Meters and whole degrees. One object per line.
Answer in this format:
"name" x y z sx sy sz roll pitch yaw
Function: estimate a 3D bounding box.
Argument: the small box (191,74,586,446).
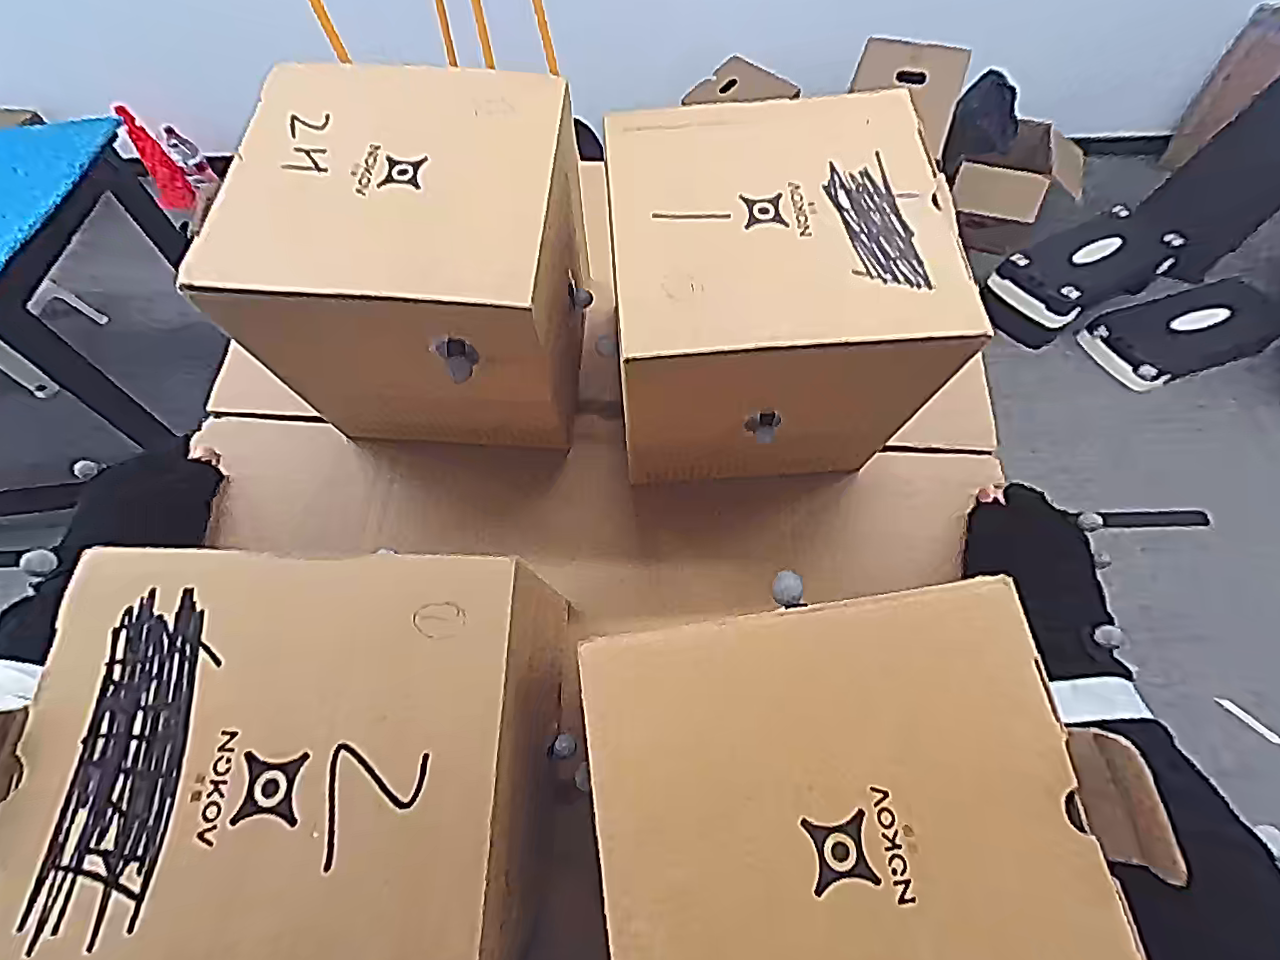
"small box" -0.135 -0.133 0.373 0.179 0.176 0.168 4 69 1
